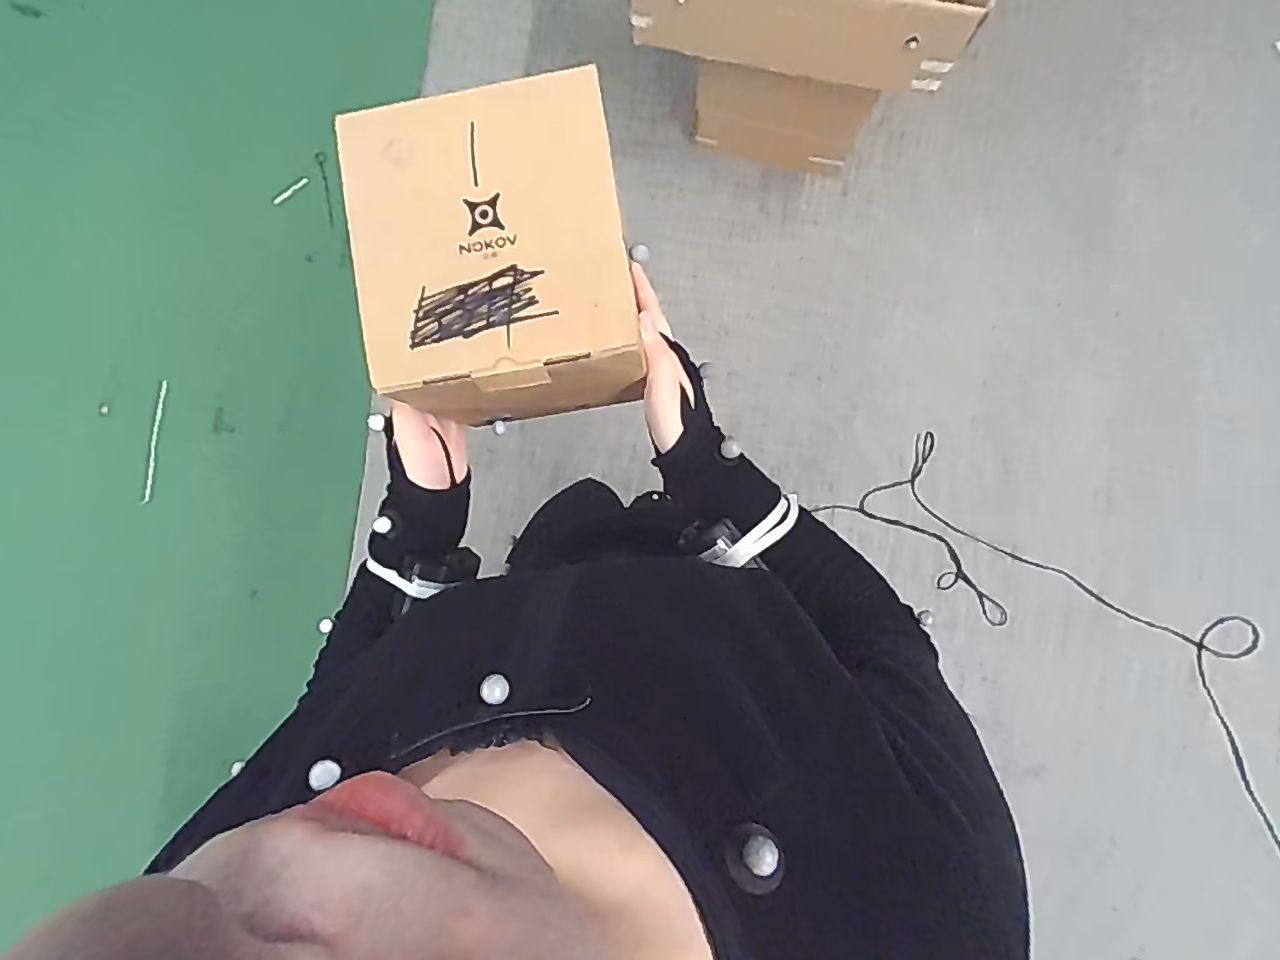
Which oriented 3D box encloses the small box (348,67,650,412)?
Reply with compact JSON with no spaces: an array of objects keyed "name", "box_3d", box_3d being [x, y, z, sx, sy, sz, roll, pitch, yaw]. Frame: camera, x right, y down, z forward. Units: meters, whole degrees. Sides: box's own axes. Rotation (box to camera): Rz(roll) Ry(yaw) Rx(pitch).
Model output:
[{"name":"small box","box_3d":[-0.085,-0.152,0.409,0.168,0.176,0.179,-8,88,2]}]
